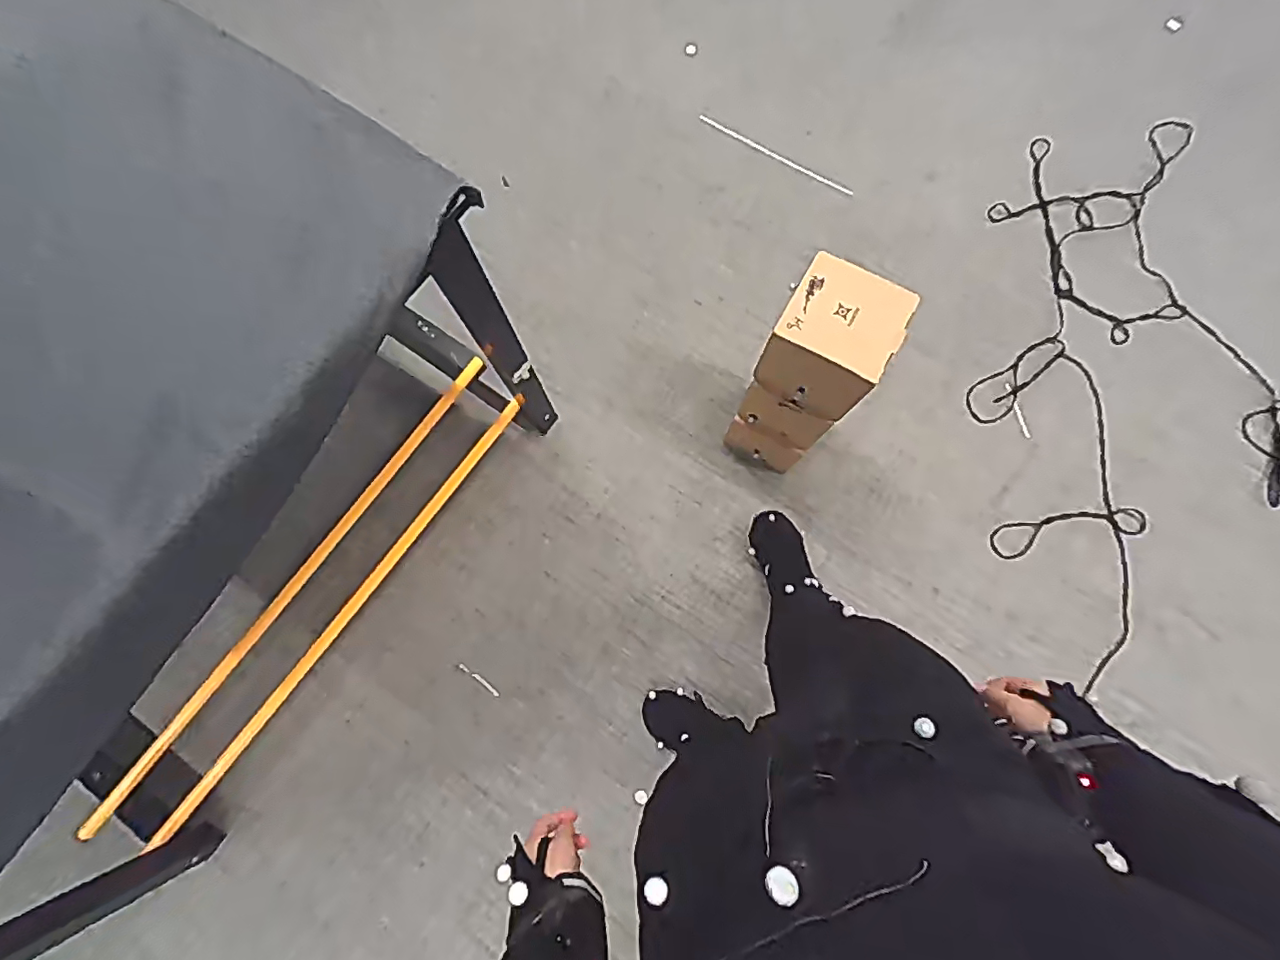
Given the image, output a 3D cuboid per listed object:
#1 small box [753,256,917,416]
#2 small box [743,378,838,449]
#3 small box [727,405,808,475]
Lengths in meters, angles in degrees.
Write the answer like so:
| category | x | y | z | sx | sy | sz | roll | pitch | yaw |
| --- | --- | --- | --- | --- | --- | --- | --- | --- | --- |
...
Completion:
| category | x | y | z | sx | sy | sz | roll | pitch | yaw |
| --- | --- | --- | --- | --- | --- | --- | --- | --- | --- |
| small box | 0.315 | -0.227 | 0.906 | 0.179 | 0.176 | 0.168 | 30 | 78 | 7 |
| small box | 0.316 | -0.185 | 1.064 | 0.168 | 0.176 | 0.179 | 29 | 78 | 7 |
| small box | 0.310 | -0.137 | 1.221 | 0.168 | 0.176 | 0.179 | 28 | 78 | 8 |
